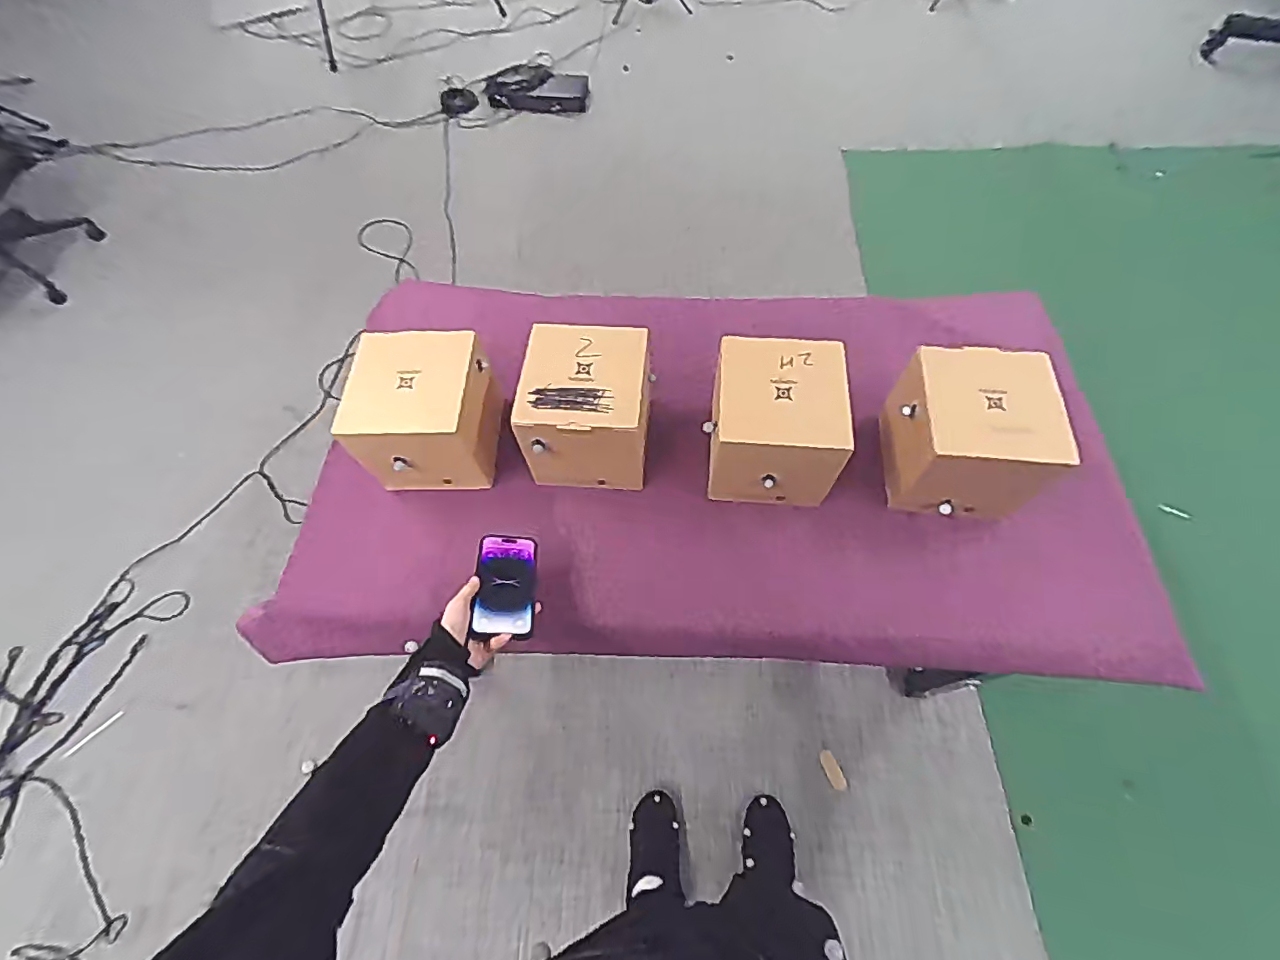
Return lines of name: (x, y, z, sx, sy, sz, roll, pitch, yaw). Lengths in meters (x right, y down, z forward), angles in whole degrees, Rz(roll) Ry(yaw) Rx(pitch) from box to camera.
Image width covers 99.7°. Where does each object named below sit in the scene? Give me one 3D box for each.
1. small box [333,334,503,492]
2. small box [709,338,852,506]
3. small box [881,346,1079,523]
small box: (-0.310, -0.091, 0.800, 0.168, 0.176, 0.179, -1, 60, 2)
small box: (0.189, -0.076, 0.769, 0.168, 0.176, 0.179, 4, 61, 4)
small box: (0.449, -0.059, 0.750, 0.168, 0.176, 0.179, 5, 62, 6)
